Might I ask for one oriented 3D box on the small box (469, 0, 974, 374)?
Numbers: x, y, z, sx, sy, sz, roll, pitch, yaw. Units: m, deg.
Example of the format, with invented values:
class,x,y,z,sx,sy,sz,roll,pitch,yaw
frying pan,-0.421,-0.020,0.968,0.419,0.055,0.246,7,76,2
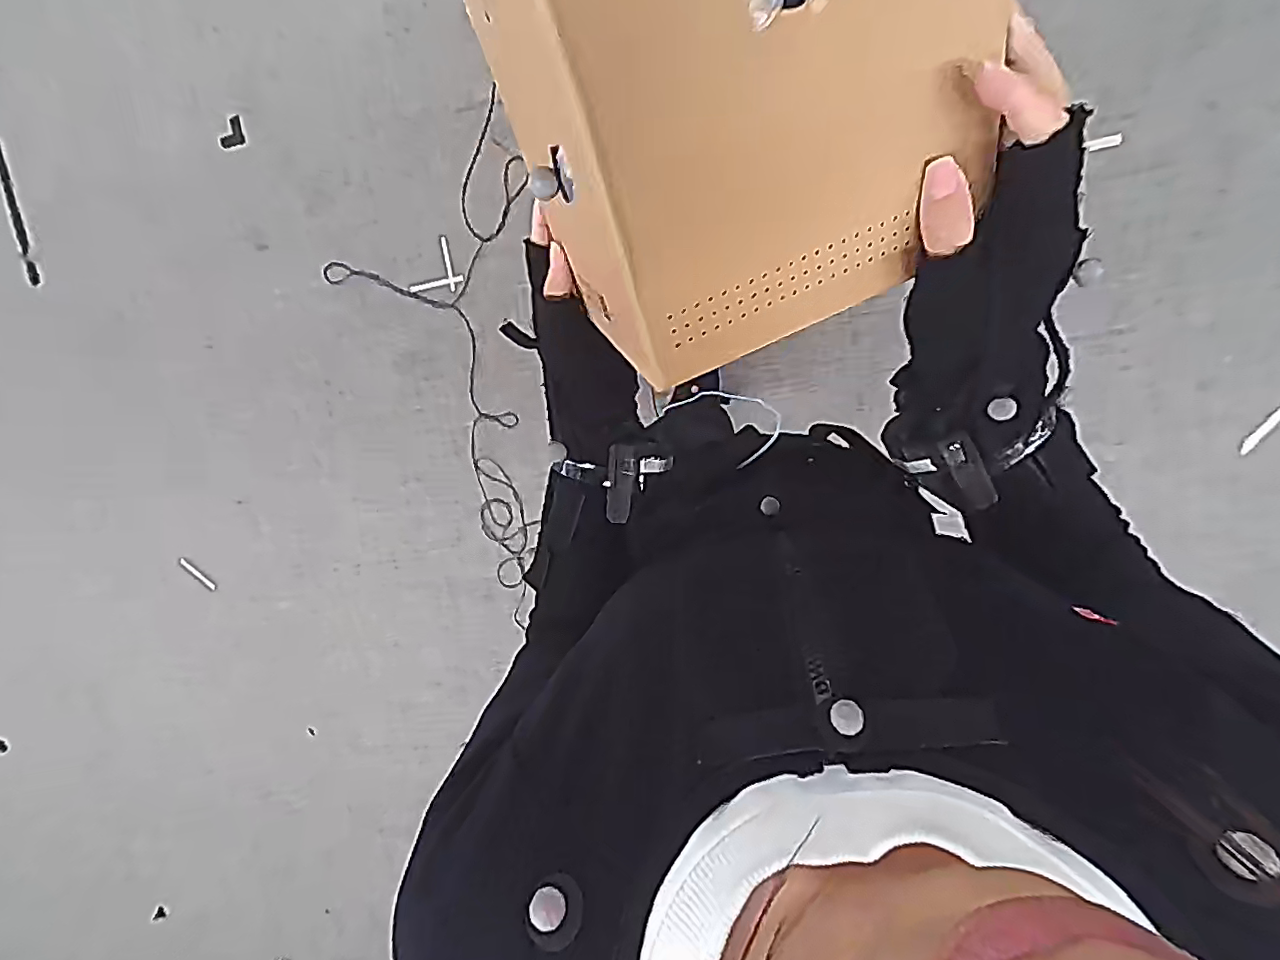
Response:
class,x,y,z,sx,sy,sz,roll,pitch,yaw
small box,0.038,-0.176,0.269,0.179,0.168,0.176,-25,127,-6
